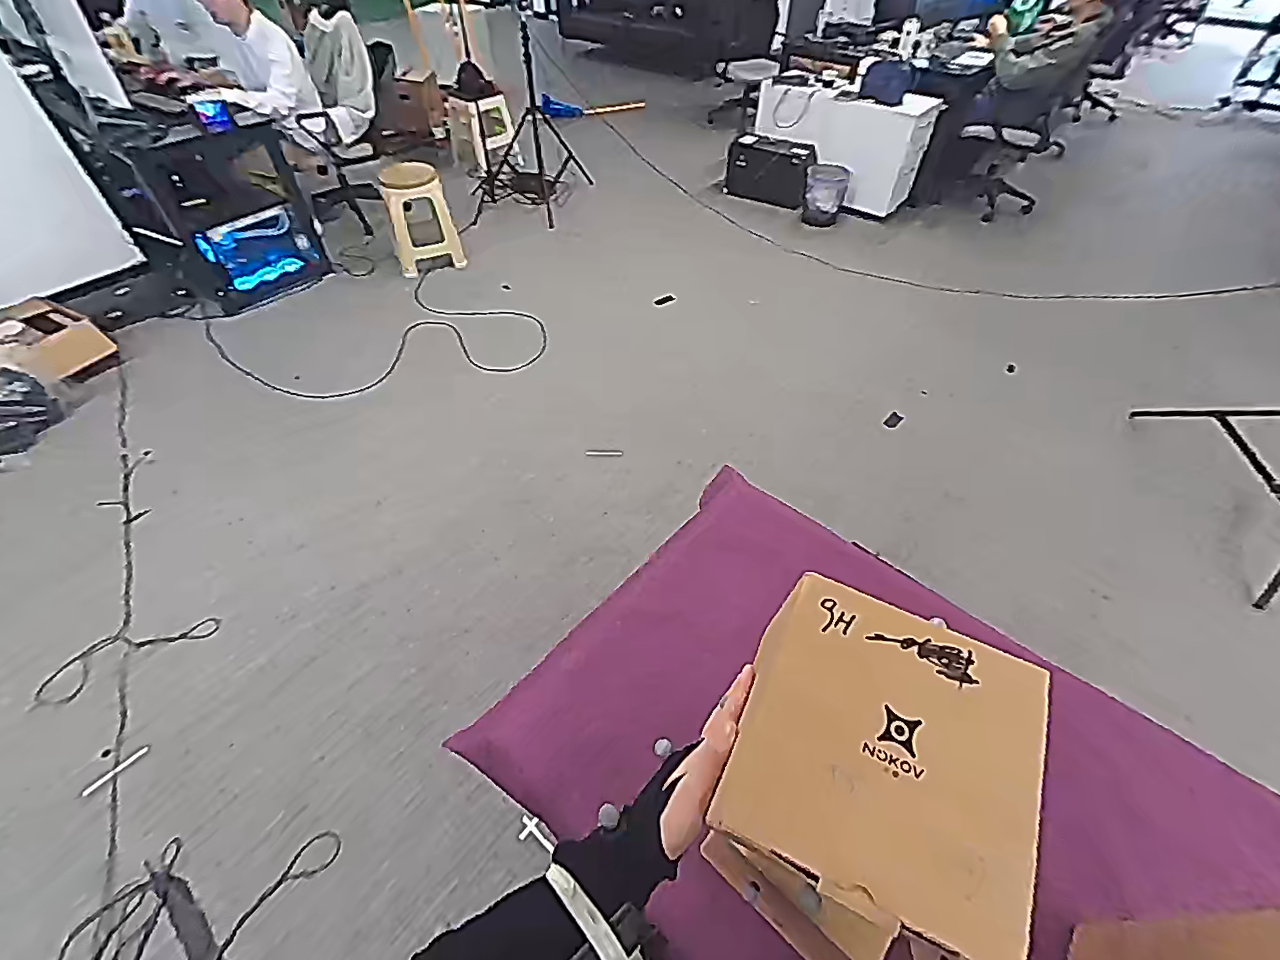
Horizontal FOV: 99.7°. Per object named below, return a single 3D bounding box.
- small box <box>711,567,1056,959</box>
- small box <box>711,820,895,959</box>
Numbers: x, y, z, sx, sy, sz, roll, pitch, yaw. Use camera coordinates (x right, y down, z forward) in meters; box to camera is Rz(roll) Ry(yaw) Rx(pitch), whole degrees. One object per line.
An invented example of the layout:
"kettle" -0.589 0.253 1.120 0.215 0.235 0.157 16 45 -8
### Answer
"small box" 0.159 0.198 0.399 0.168 0.176 0.179 22 63 12
"small box" 0.192 0.382 0.593 0.168 0.176 0.179 34 55 25
